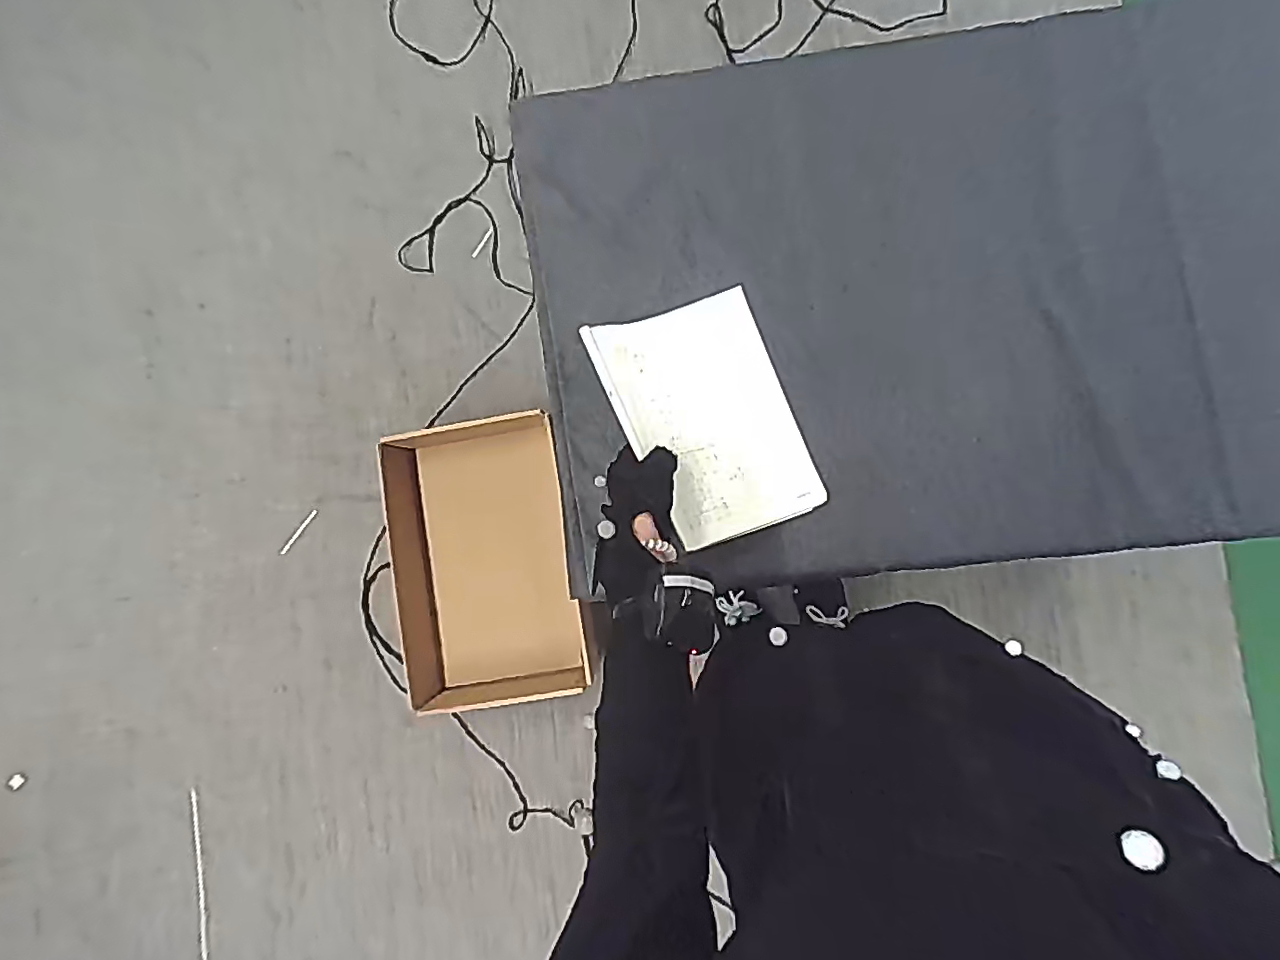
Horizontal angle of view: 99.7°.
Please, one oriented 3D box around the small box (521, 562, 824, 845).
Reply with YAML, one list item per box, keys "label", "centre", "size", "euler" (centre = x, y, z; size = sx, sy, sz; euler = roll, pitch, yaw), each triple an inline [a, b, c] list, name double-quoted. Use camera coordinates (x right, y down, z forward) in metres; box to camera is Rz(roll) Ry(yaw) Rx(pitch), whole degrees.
- label: "small box"
  centre: [0.019, 0.167, 0.458]
  size: [0.179, 0.176, 0.168]
  euler: [-11, 87, -27]
